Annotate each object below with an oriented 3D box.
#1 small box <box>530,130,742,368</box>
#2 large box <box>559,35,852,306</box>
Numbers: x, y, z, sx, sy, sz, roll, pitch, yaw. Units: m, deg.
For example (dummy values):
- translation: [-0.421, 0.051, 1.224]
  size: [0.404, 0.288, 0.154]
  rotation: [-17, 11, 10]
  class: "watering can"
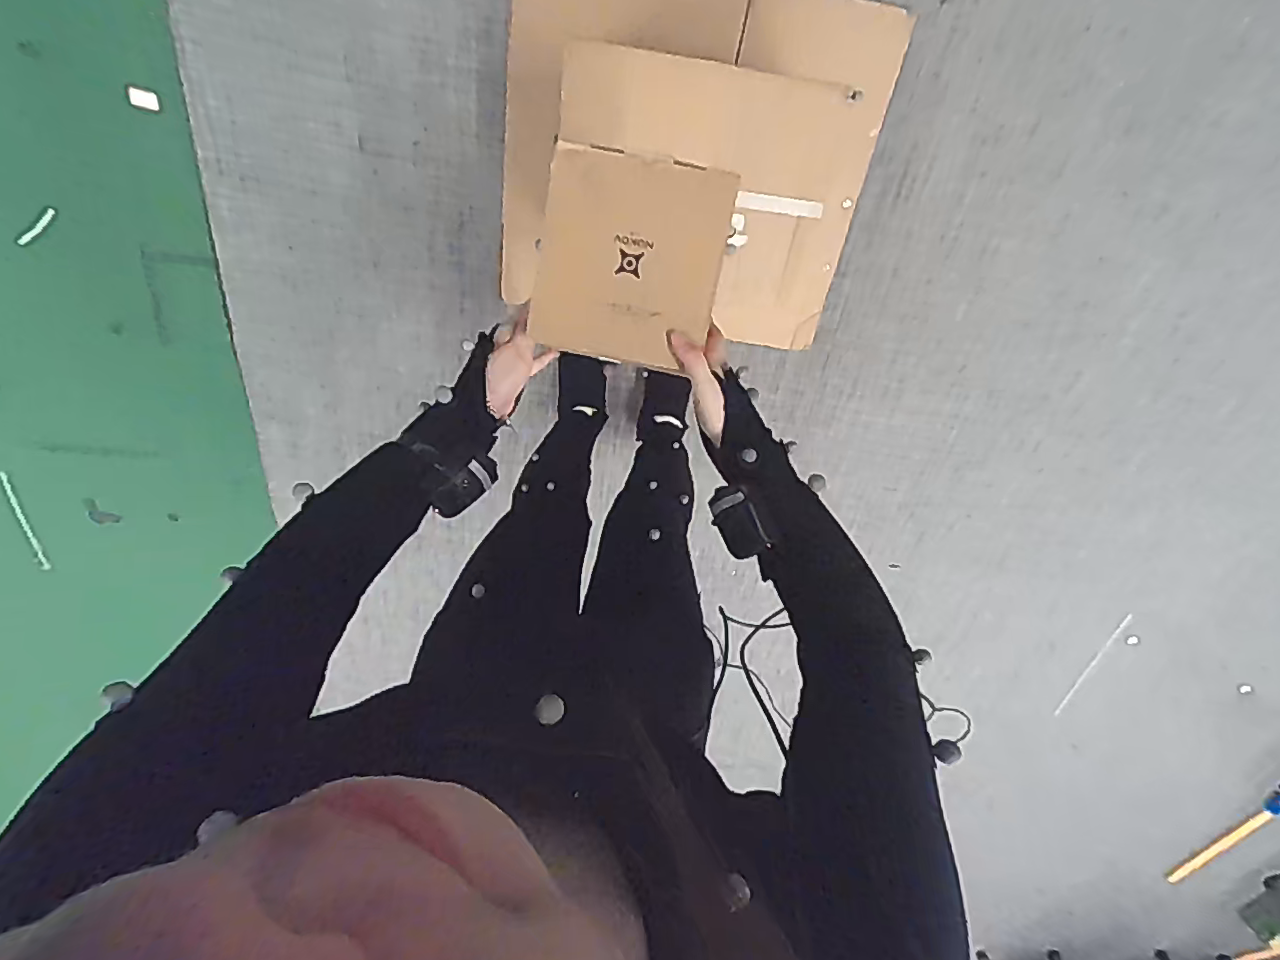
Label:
- translation: [-0.004, -0.219, 0.561]
  size: [0.168, 0.176, 0.179]
  rotation: [11, 101, 1]
  class: "small box"
- translation: [0.071, -0.506, 0.926]
  size: [0.408, 0.320, 0.320]
  rotation: [6, 120, -6]
  class: "large box"
